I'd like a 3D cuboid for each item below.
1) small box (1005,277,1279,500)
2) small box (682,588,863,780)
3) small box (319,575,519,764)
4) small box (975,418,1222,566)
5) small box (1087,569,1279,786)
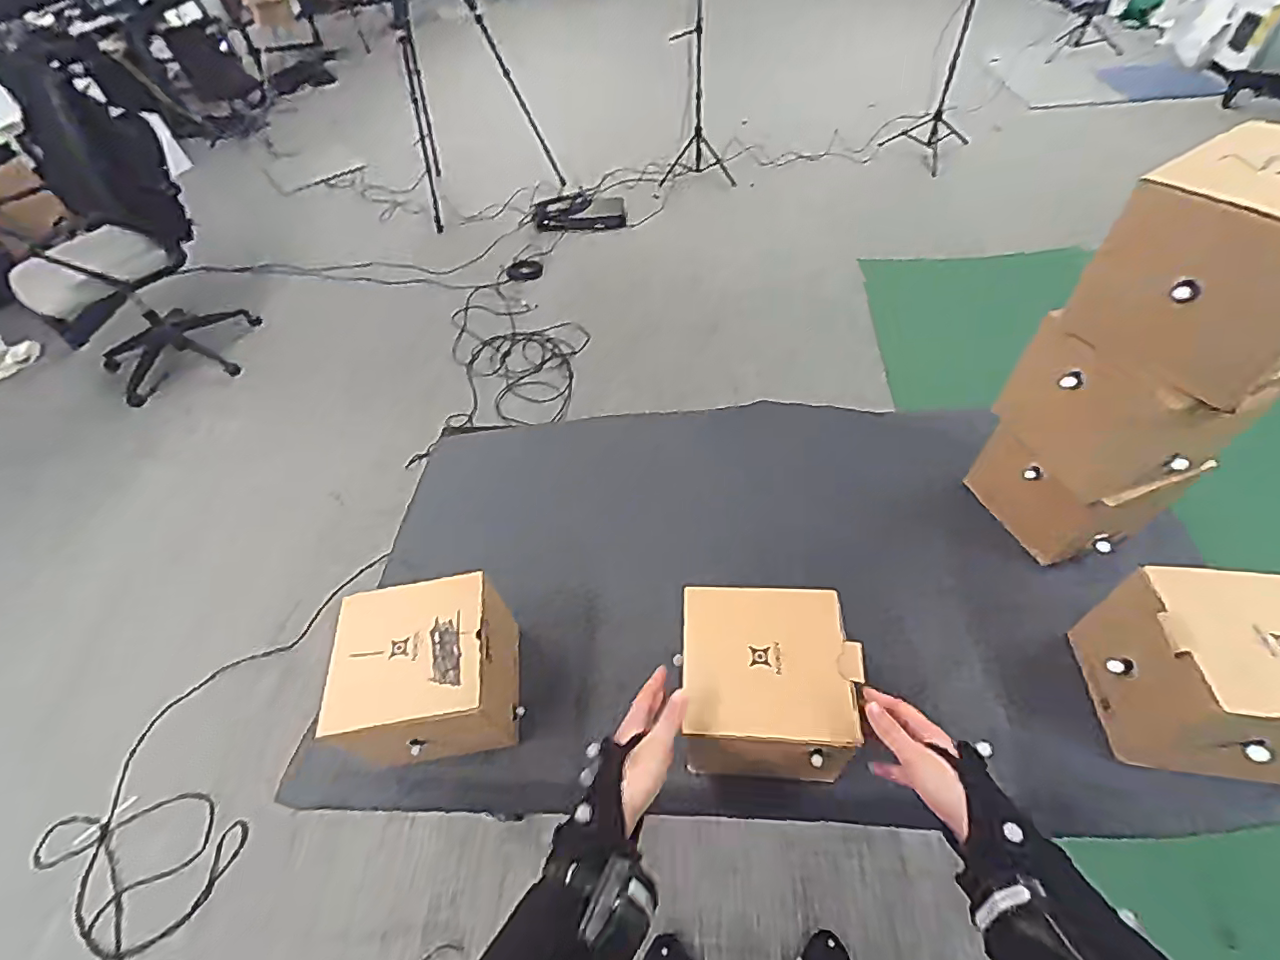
[{"bbox_3d":[0.589,-0.106,0.647,0.168,0.176,0.179,-17,53,-2],"label":"small box"},{"bbox_3d":[0.142,0.241,0.635,0.179,0.176,0.168,0,51,7],"label":"small box"},{"bbox_3d":[-0.254,0.240,0.675,0.179,0.176,0.168,-10,52,-1],"label":"small box"},{"bbox_3d":[0.628,-0.008,0.775,0.168,0.176,0.179,-20,54,-6],"label":"small box"},{"bbox_3d":[0.639,0.217,0.593,0.179,0.176,0.168,4,49,10],"label":"small box"}]
